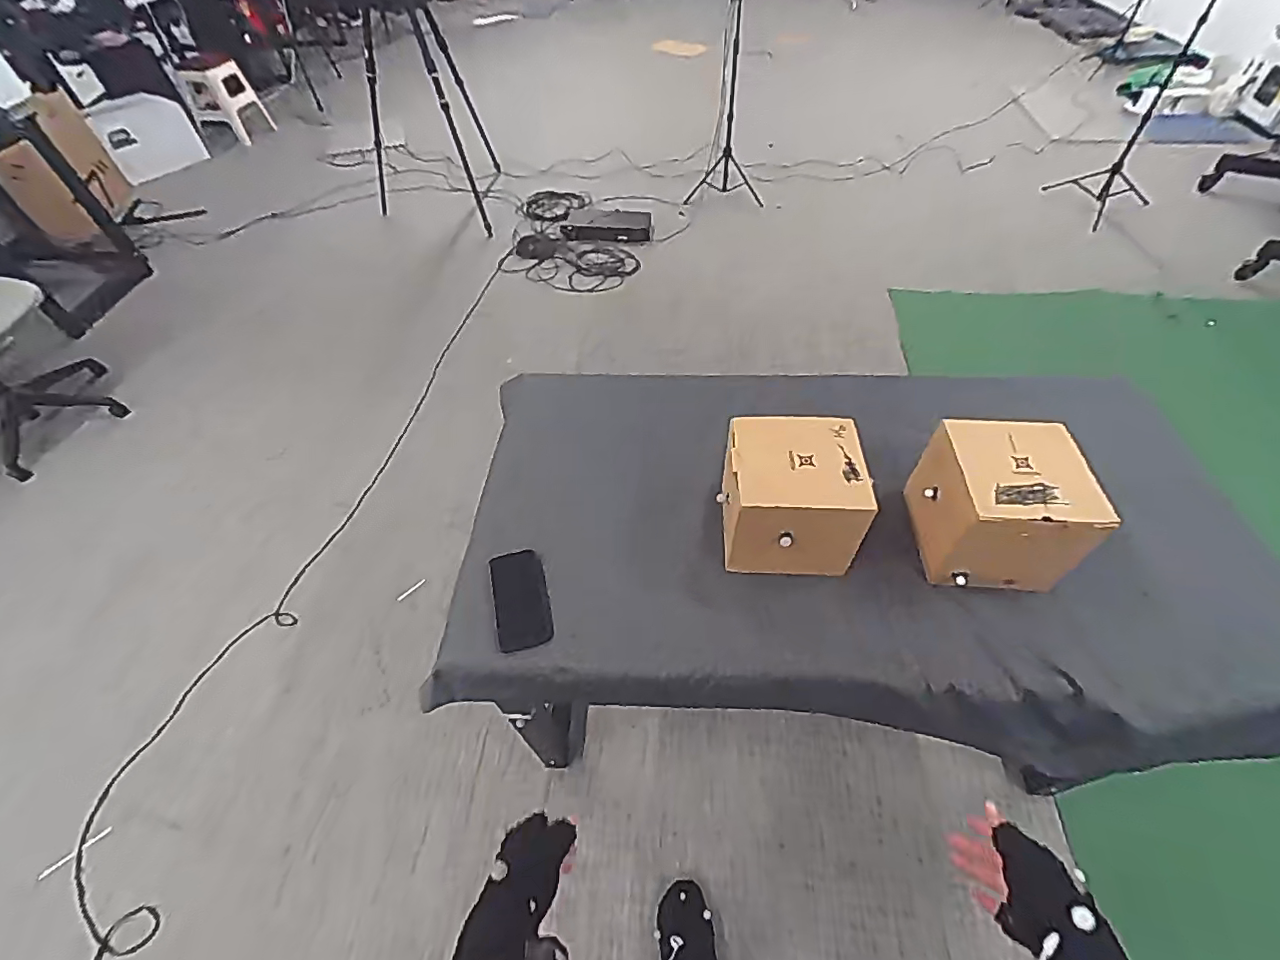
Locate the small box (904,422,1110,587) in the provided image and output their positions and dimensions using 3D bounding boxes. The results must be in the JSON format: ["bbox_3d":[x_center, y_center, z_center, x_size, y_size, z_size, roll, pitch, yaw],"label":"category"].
[{"bbox_3d":[0.506,0.038,0.780,0.168,0.176,0.179,3,50,5],"label":"small box"}]

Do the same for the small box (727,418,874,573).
[{"bbox_3d":[0.221,0.026,0.801,0.179,0.176,0.168,1,51,4],"label":"small box"}]
